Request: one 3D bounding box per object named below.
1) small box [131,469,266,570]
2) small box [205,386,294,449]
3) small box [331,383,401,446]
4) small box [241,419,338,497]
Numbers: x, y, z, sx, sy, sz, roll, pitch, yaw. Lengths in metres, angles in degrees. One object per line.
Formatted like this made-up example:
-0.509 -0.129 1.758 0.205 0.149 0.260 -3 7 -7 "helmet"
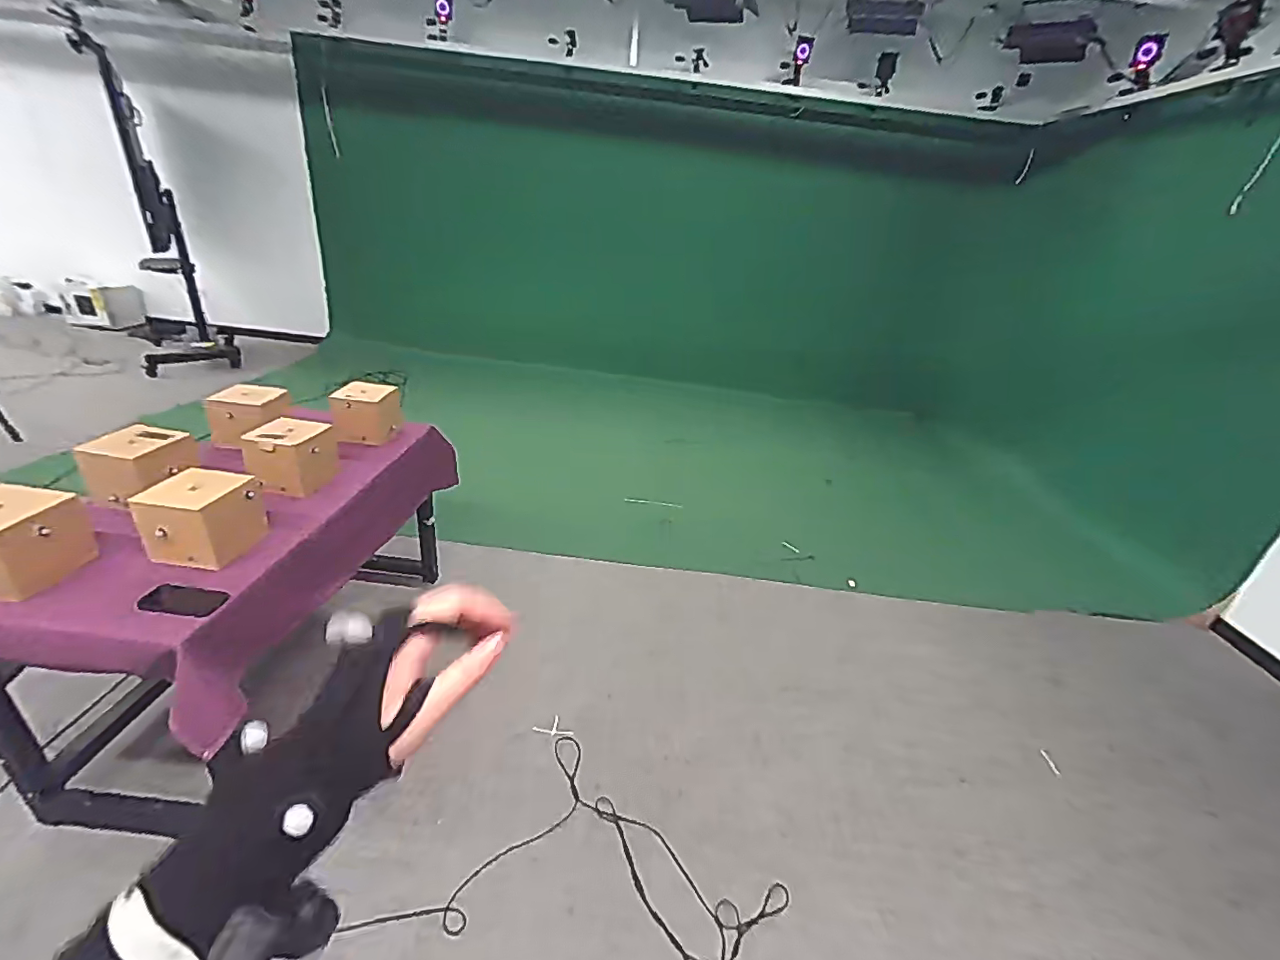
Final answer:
-1.032 0.093 1.285 0.168 0.176 0.179 7 26 2 "small box"
-1.293 -0.204 1.807 0.179 0.176 0.168 6 27 -2 "small box"
-0.979 -0.238 1.948 0.168 0.176 0.179 6 27 0 "small box"
-1.025 -0.066 1.600 0.168 0.176 0.179 9 26 3 "small box"
